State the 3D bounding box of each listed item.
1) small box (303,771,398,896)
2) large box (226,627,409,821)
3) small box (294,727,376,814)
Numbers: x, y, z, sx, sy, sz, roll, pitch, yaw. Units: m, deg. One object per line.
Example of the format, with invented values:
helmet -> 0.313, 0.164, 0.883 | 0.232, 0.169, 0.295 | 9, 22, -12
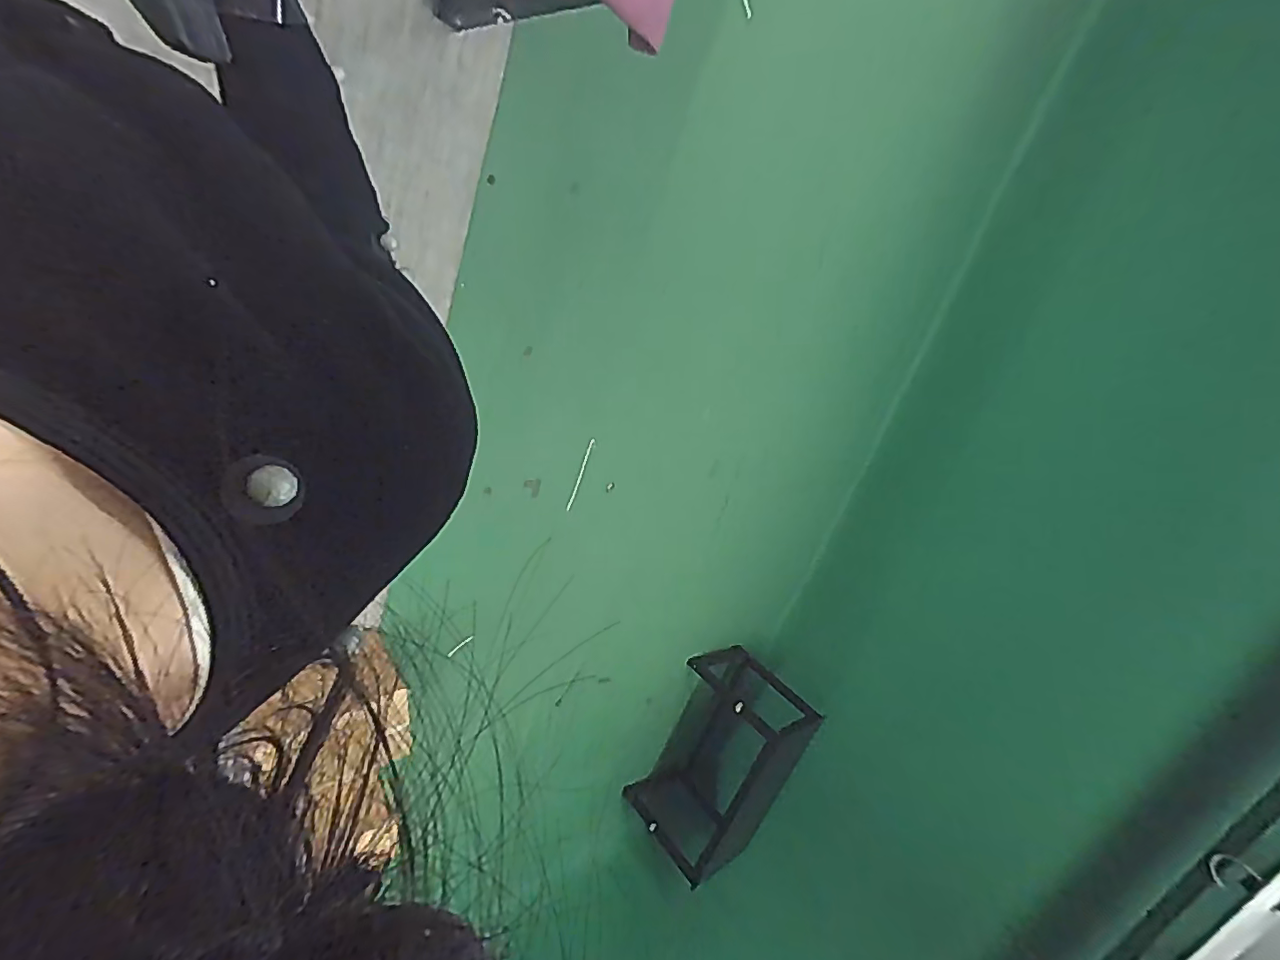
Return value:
small box -> -0.743, 0.894, 1.386 | 0.179, 0.176, 0.168 | -7, 121, -42
large box -> -0.984, 0.729, 1.674 | 0.408, 0.320, 0.320 | -16, 128, -40
small box -> -0.842, 0.816, 1.489 | 0.168, 0.176, 0.179 | -8, 122, -41
